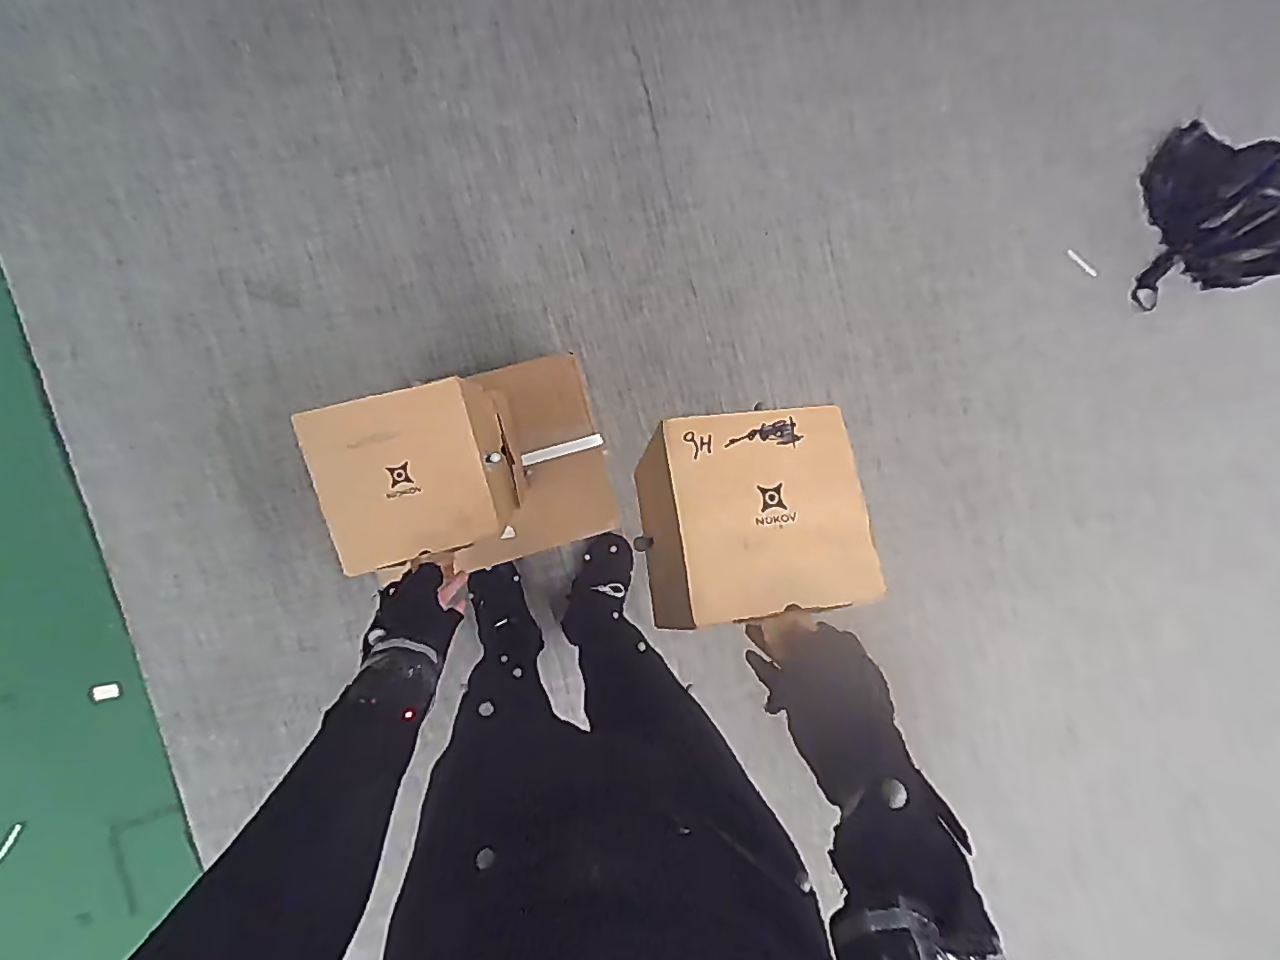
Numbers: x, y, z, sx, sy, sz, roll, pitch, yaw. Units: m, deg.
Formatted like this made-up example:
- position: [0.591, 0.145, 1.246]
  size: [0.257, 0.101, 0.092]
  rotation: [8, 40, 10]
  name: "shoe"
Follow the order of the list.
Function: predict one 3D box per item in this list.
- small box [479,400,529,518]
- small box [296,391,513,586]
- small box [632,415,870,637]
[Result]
- position: [-0.269, -0.020, 0.800]
  size: [0.179, 0.176, 0.168]
  rotation: [-16, 100, -6]
  name: "small box"
- position: [-0.257, -0.001, 0.640]
  size: [0.168, 0.176, 0.179]
  rotation: [-16, 99, -6]
  name: "small box"
- position: [0.091, 0.050, 0.532]
  size: [0.168, 0.176, 0.179]
  rotation: [-6, 77, -11]
  name: "small box"
